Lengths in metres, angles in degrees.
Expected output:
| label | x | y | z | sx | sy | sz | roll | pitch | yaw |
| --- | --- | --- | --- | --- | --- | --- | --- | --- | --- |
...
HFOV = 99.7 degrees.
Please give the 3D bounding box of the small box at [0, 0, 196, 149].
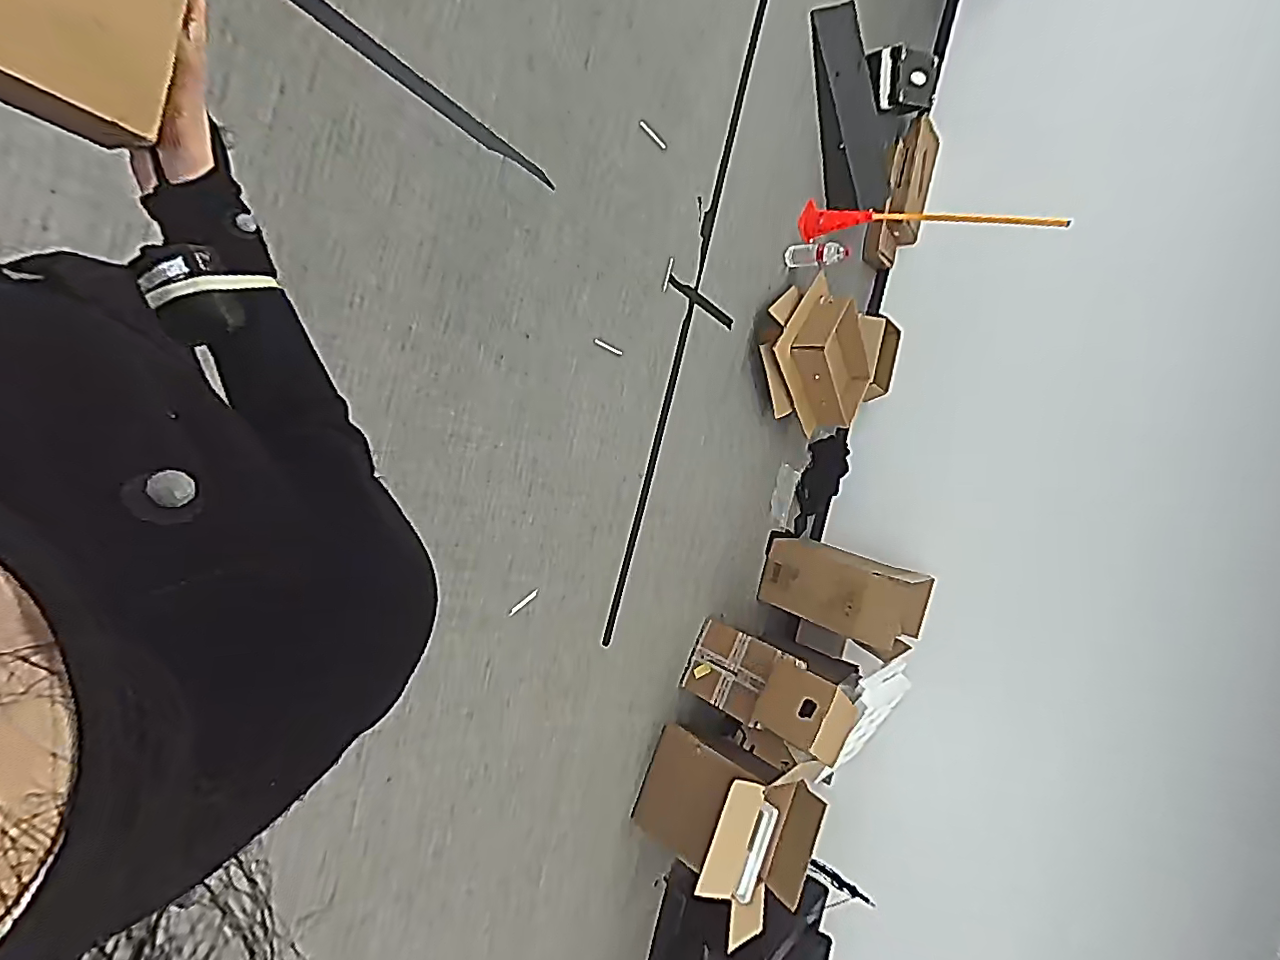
| label | x | y | z | sx | sy | sz | roll | pitch | yaw |
| --- | --- | --- | --- | --- | --- | --- | --- | --- | --- |
| small box | -0.388 | -0.327 | 0.322 | 0.168 | 0.176 | 0.179 | 11 | 100 | -54 |
